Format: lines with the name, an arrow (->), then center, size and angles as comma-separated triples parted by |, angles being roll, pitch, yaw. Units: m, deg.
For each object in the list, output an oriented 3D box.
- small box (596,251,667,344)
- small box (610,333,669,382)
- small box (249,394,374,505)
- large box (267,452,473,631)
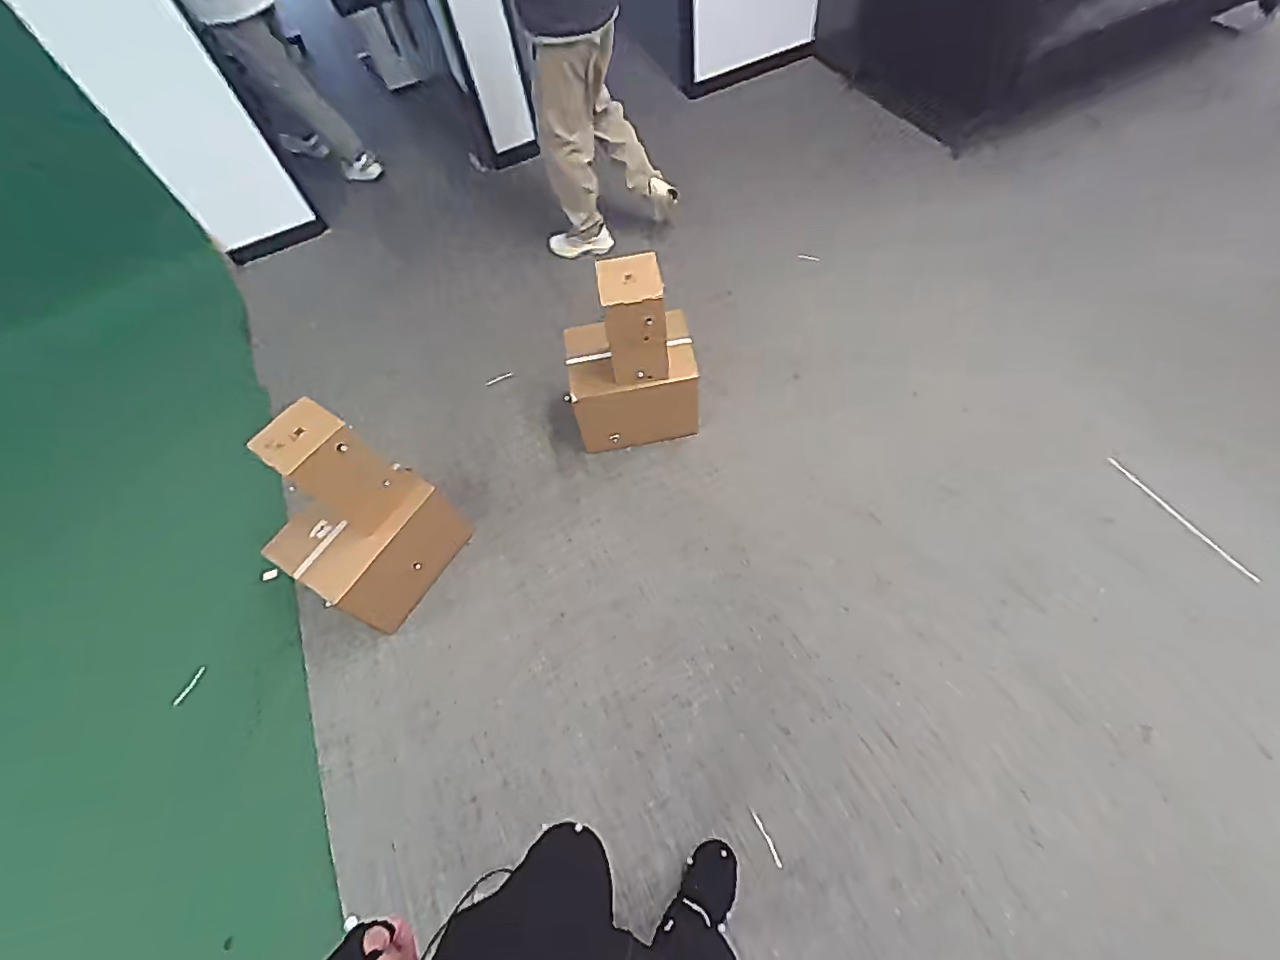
small box -> -0.021, -0.494, 1.486 | 0.168, 0.176, 0.179 | -9, 60, 0
small box -> -0.004, -0.420, 1.631 | 0.168, 0.176, 0.179 | -8, 61, 2
small box -> -0.786, -0.072, 1.321 | 0.168, 0.176, 0.179 | 30, 67, 21
large box -> -0.794, 0.182, 1.653 | 0.320, 0.320, 0.408 | 24, 66, 20
